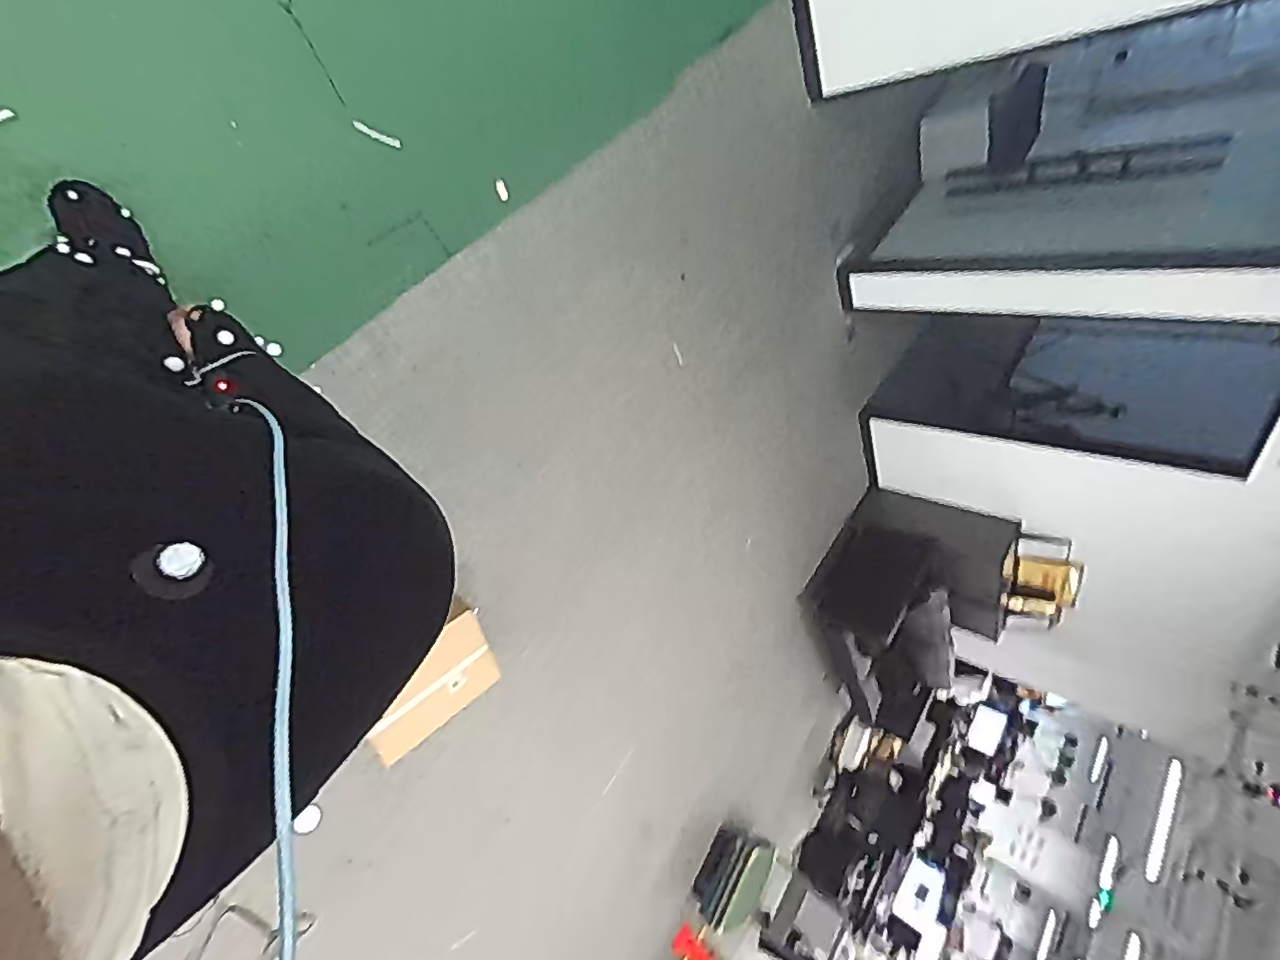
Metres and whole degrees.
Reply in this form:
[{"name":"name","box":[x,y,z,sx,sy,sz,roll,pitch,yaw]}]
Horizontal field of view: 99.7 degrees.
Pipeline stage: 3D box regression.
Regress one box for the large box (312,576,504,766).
[{"name":"large box","box":[-0.713,0.571,1.689,0.408,0.320,0.320,-35,127,-35]}]
